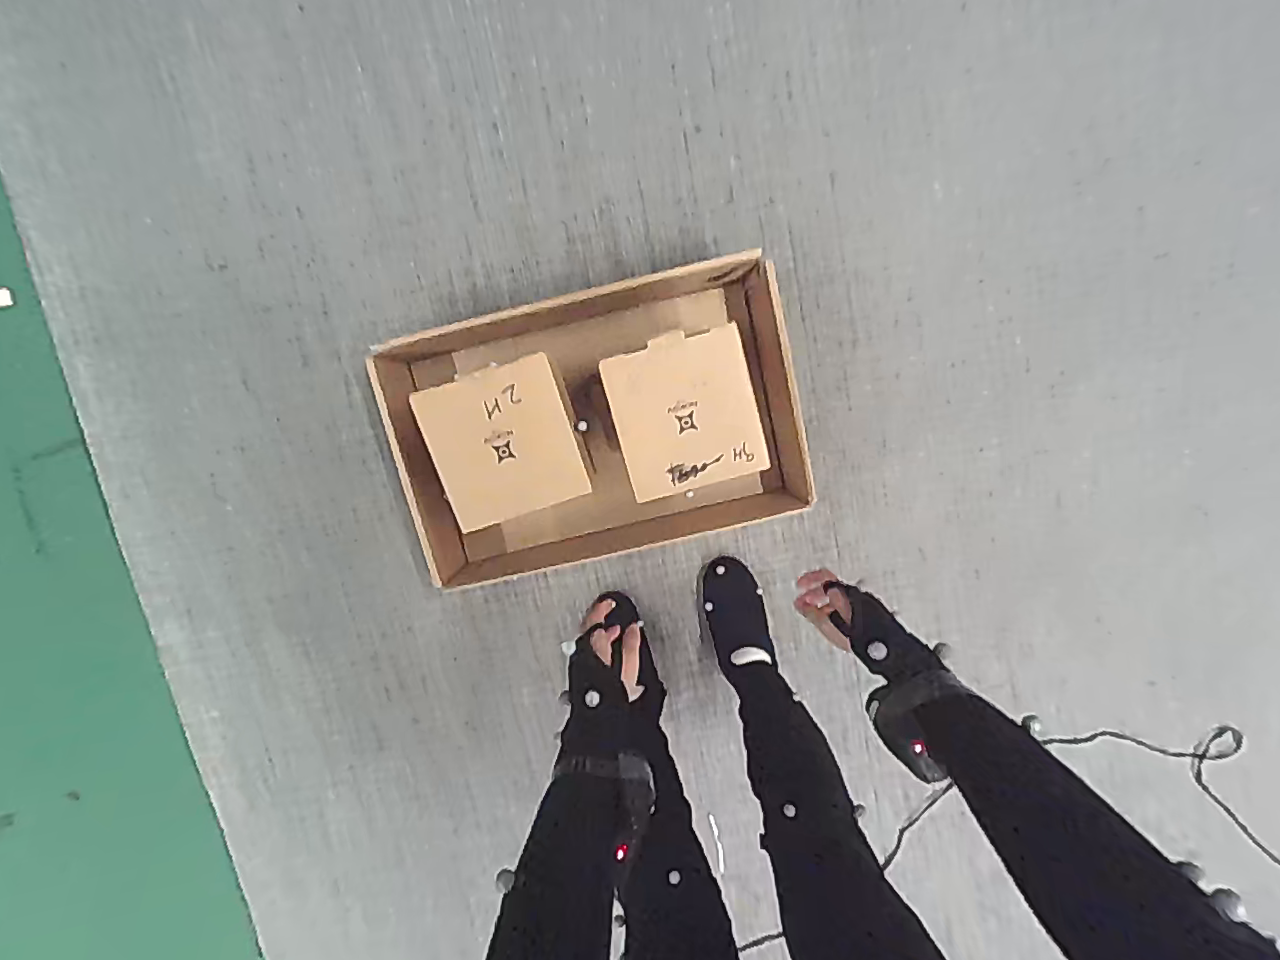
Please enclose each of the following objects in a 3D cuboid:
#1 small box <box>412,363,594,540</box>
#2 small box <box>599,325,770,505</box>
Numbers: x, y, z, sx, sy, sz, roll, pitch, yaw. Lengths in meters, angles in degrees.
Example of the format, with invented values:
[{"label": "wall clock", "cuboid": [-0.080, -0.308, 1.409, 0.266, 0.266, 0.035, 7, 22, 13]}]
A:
[{"label": "small box", "cuboid": [-0.163, -0.045, 0.713, 0.168, 0.176, 0.179, -19, 100, 0]}, {"label": "small box", "cuboid": [0.053, -0.083, 0.704, 0.168, 0.176, 0.179, -16, 98, 4]}]
